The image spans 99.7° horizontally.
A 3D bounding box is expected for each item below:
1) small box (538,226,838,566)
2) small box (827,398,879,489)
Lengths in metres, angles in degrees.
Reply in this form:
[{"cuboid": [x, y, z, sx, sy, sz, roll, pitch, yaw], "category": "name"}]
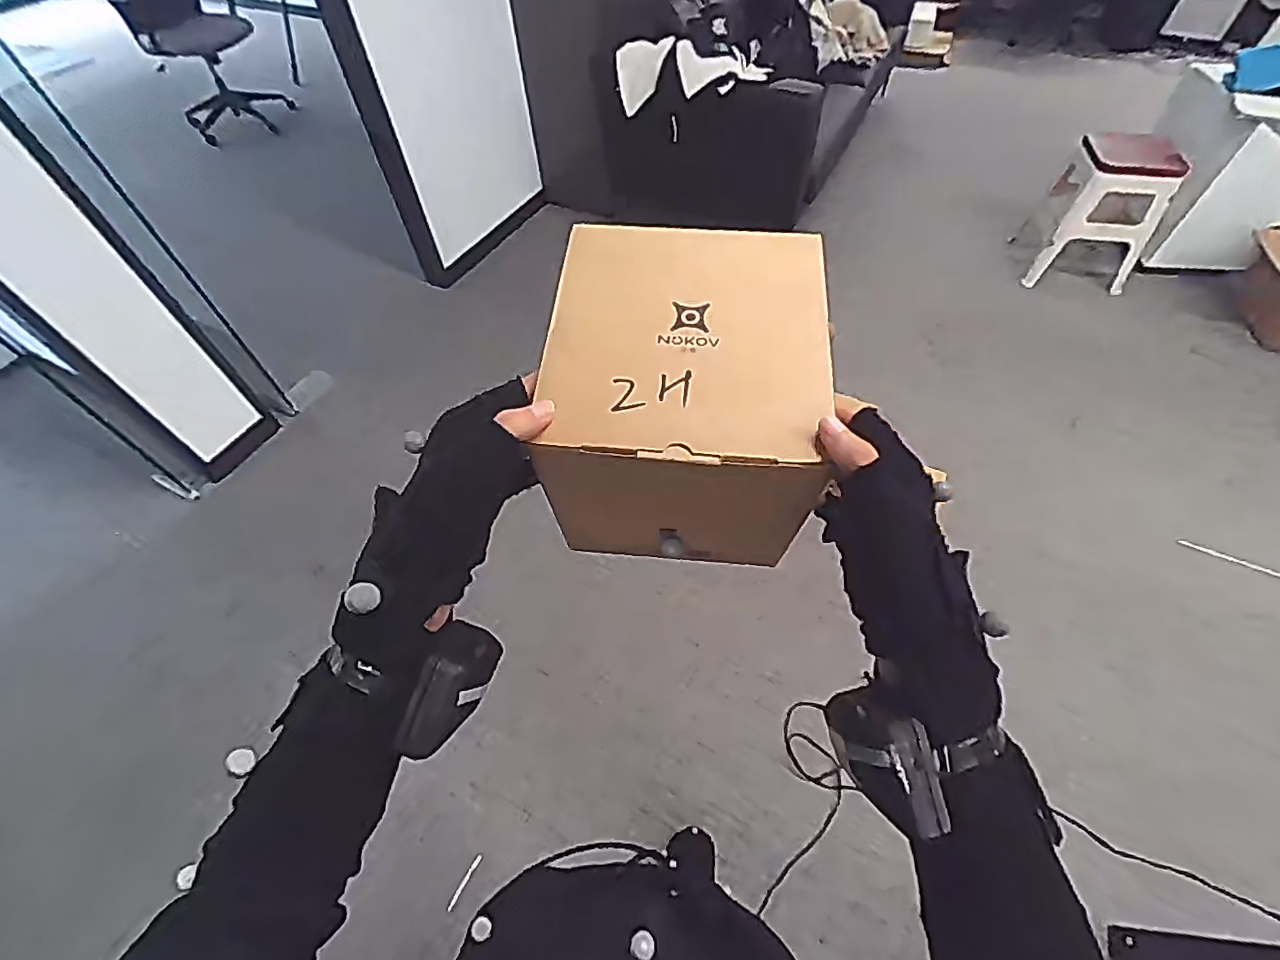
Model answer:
[{"cuboid": [0.036, -0.054, 0.398, 0.168, 0.176, 0.179, 5, 62, 5], "category": "small box"}, {"cuboid": [0.556, -0.109, 1.547, 0.168, 0.176, 0.179, 23, 57, 18], "category": "small box"}]
